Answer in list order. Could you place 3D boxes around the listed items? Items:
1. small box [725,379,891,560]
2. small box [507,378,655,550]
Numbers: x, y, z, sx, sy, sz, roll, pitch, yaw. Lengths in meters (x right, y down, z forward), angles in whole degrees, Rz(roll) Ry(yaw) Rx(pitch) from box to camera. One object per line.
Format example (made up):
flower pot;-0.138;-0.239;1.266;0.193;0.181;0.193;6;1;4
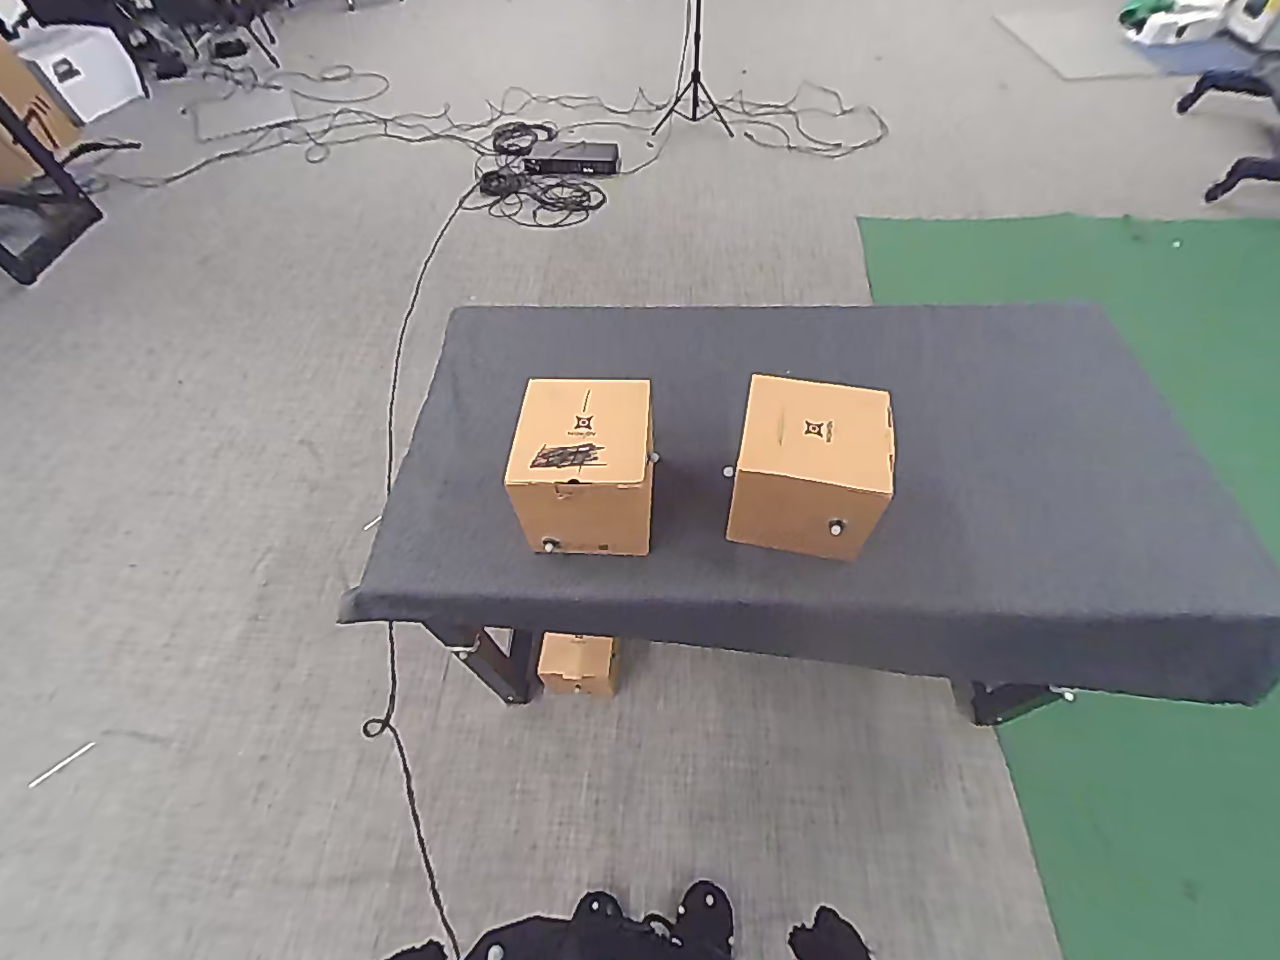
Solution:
small box;0.219;-0.009;0.729;0.179;0.176;0.168;10;55;10
small box;-0.067;-0.018;0.742;0.168;0.176;0.179;3;54;4
